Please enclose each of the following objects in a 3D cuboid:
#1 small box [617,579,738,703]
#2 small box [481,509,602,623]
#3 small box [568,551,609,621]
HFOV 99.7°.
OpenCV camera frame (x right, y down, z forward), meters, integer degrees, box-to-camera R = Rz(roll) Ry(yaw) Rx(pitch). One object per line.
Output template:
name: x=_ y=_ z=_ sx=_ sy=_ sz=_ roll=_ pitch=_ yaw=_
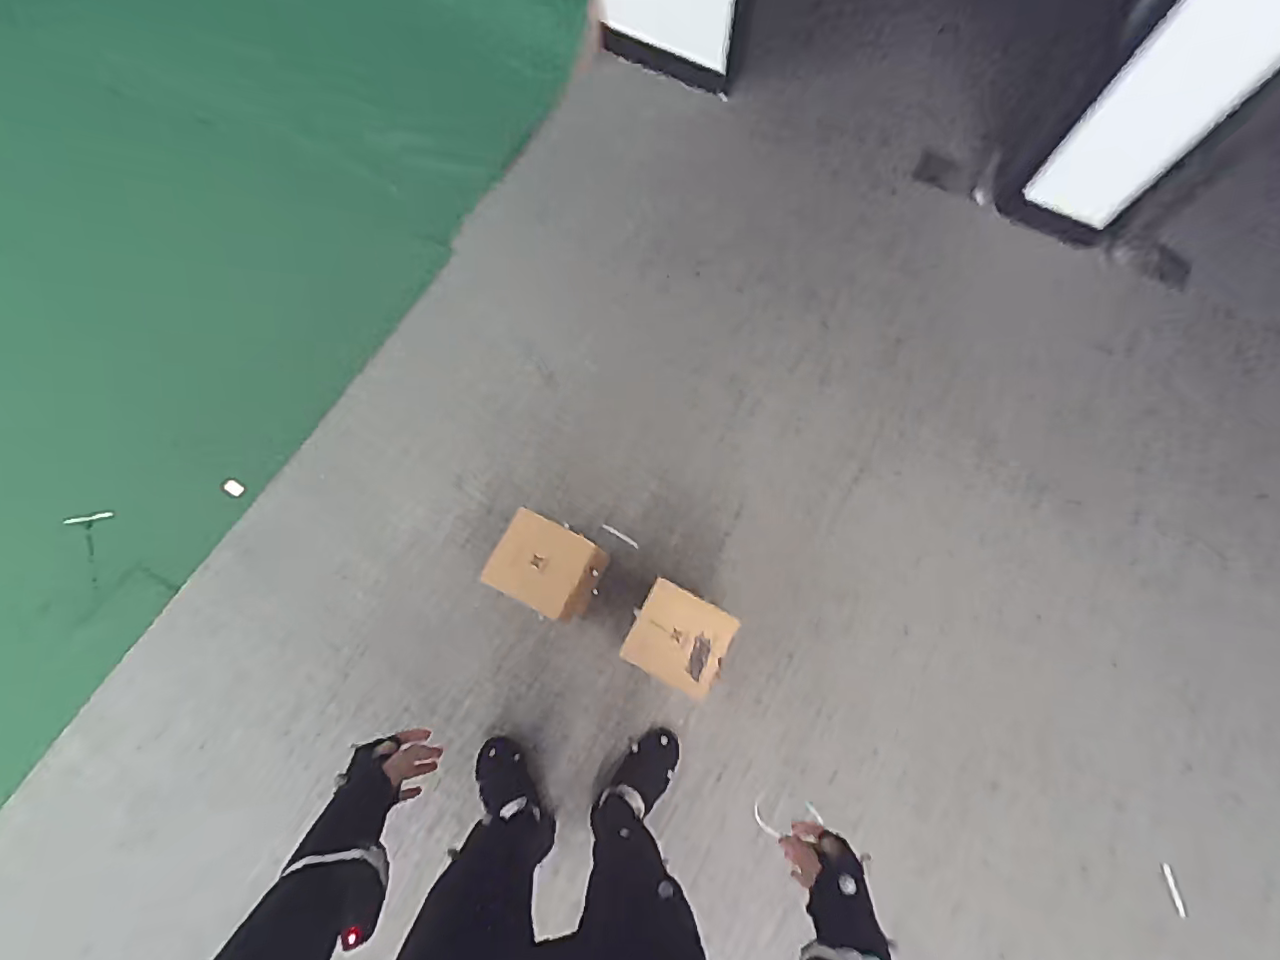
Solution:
small box: x=0.073 y=0.319 z=1.085 sx=0.179 sy=0.176 sz=0.168 roll=28 pitch=75 yaw=10
small box: x=-0.194 y=0.186 z=1.133 sx=0.179 sy=0.176 sz=0.168 roll=26 pitch=75 yaw=10
small box: x=-0.188 y=0.223 z=1.293 sx=0.179 sy=0.176 sz=0.168 roll=26 pitch=76 yaw=9
